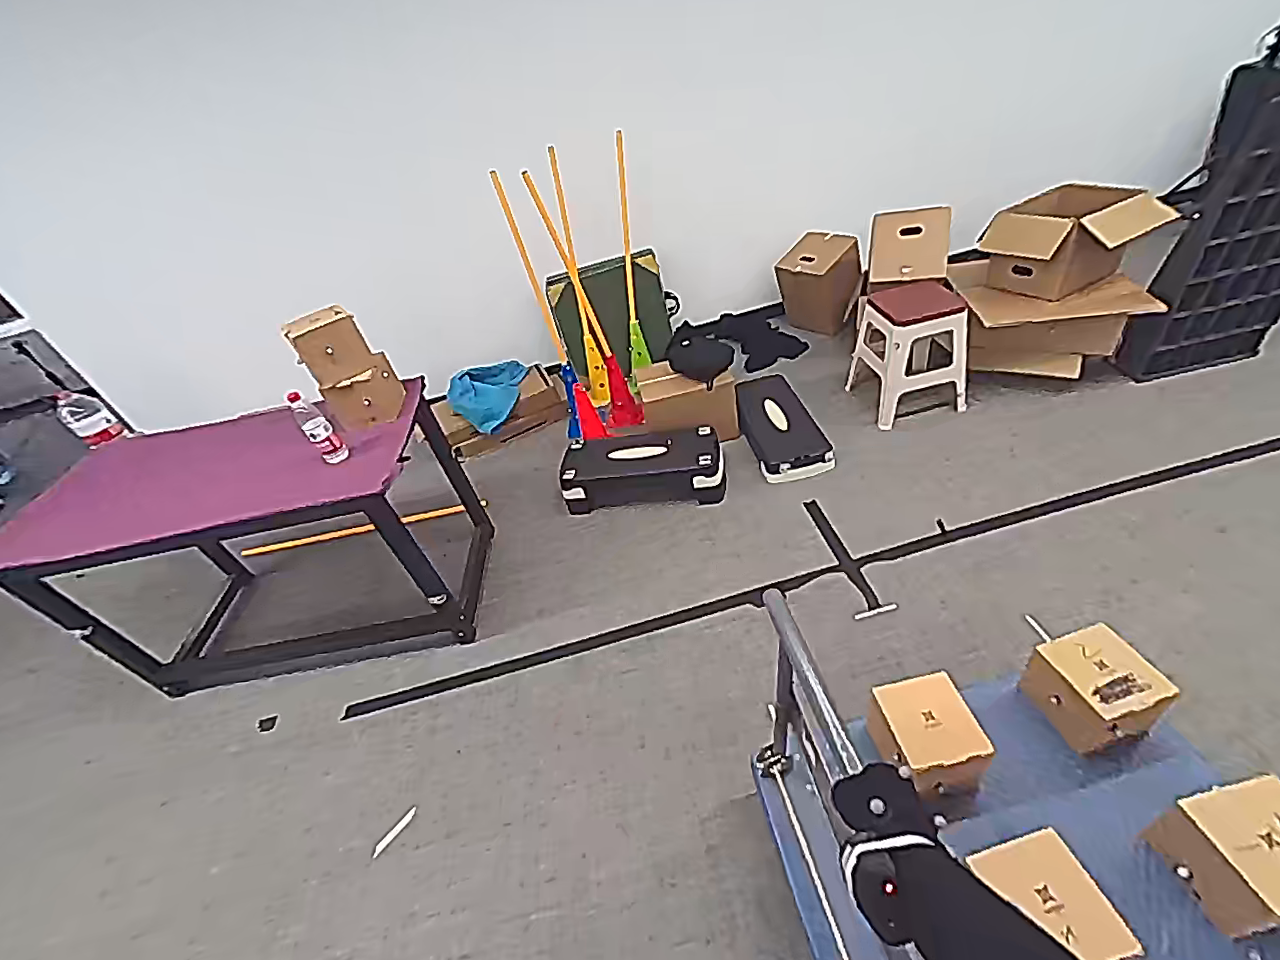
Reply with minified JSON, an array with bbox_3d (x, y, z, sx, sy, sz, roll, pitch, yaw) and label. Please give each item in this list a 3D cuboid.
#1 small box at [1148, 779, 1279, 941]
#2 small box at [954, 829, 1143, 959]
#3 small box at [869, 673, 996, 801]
[{"bbox_3d":[1.030,0.639,0.909,0.179,0.176,0.168,-16,39,0],"label":"small box"},{"bbox_3d":[0.666,0.733,0.911,0.168,0.176,0.179,-17,39,-2],"label":"small box"},{"bbox_3d":[0.606,0.546,1.150,0.168,0.176,0.179,-14,41,1],"label":"small box"}]
